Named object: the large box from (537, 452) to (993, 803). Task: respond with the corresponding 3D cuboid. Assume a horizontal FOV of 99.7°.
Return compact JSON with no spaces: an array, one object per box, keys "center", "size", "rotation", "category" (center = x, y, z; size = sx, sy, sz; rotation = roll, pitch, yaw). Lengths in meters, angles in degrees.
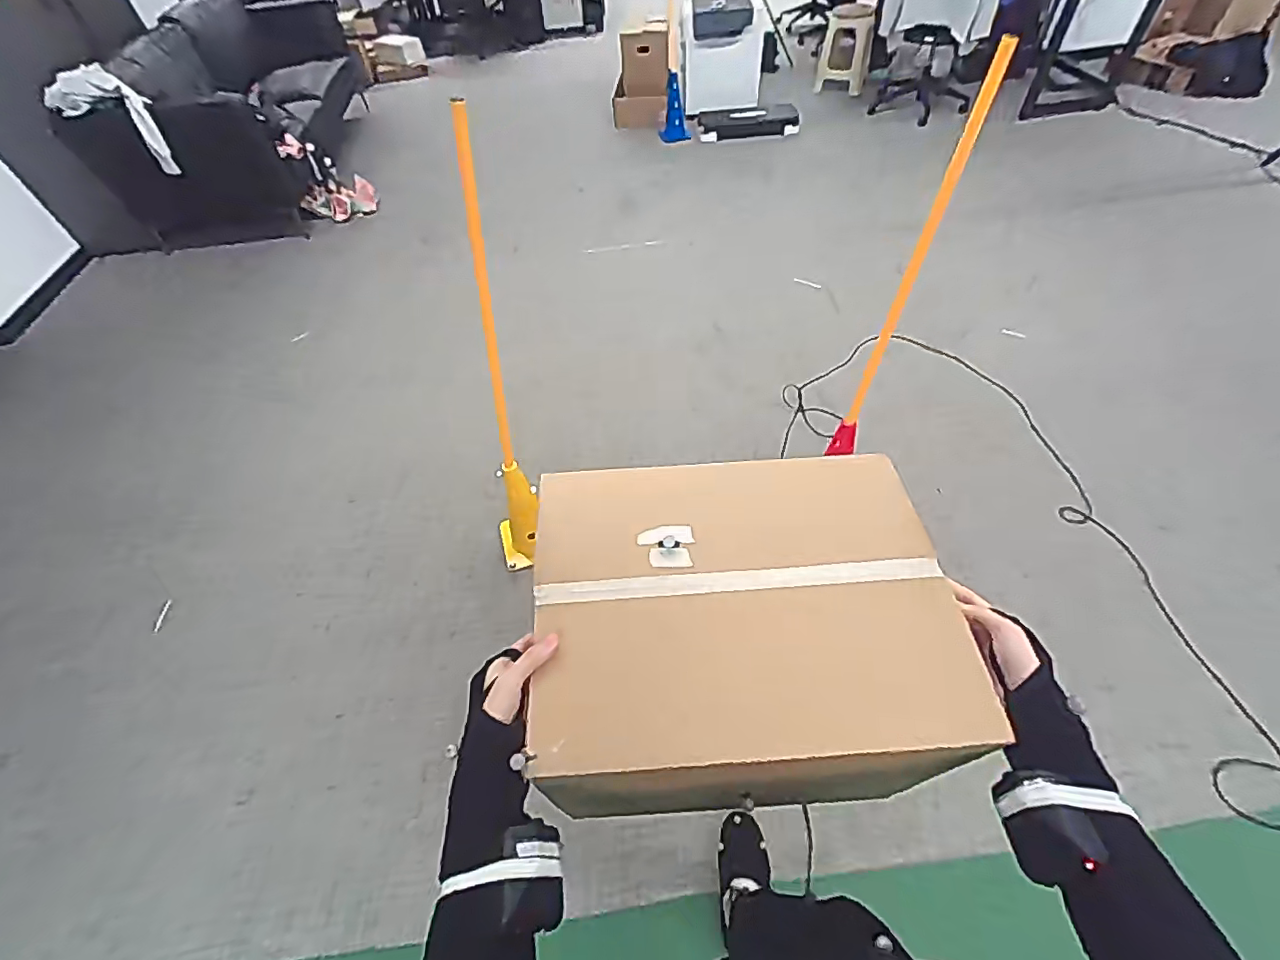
[{"center":[0.106,0.193,0.668],"size":[0.408,0.320,0.320],"rotation":[-4,52,-1],"category":"large box"}]
